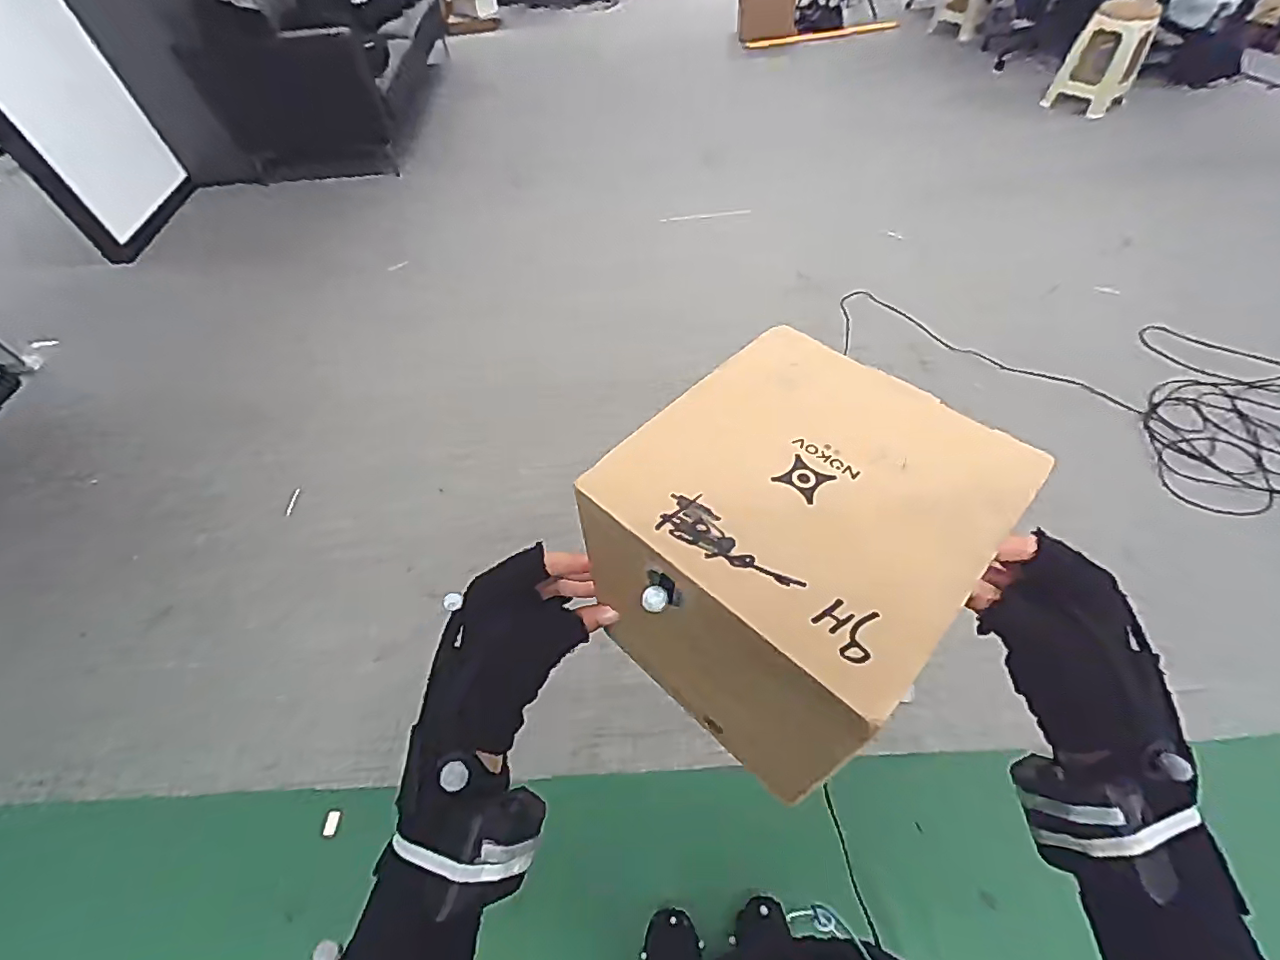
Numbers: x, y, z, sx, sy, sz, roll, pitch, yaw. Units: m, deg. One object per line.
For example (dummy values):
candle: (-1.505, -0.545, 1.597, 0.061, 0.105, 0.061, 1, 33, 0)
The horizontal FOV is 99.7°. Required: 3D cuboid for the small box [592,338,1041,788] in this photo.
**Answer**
small box: (0.089, 0.050, 0.336, 0.168, 0.176, 0.179, 37, 60, 27)
